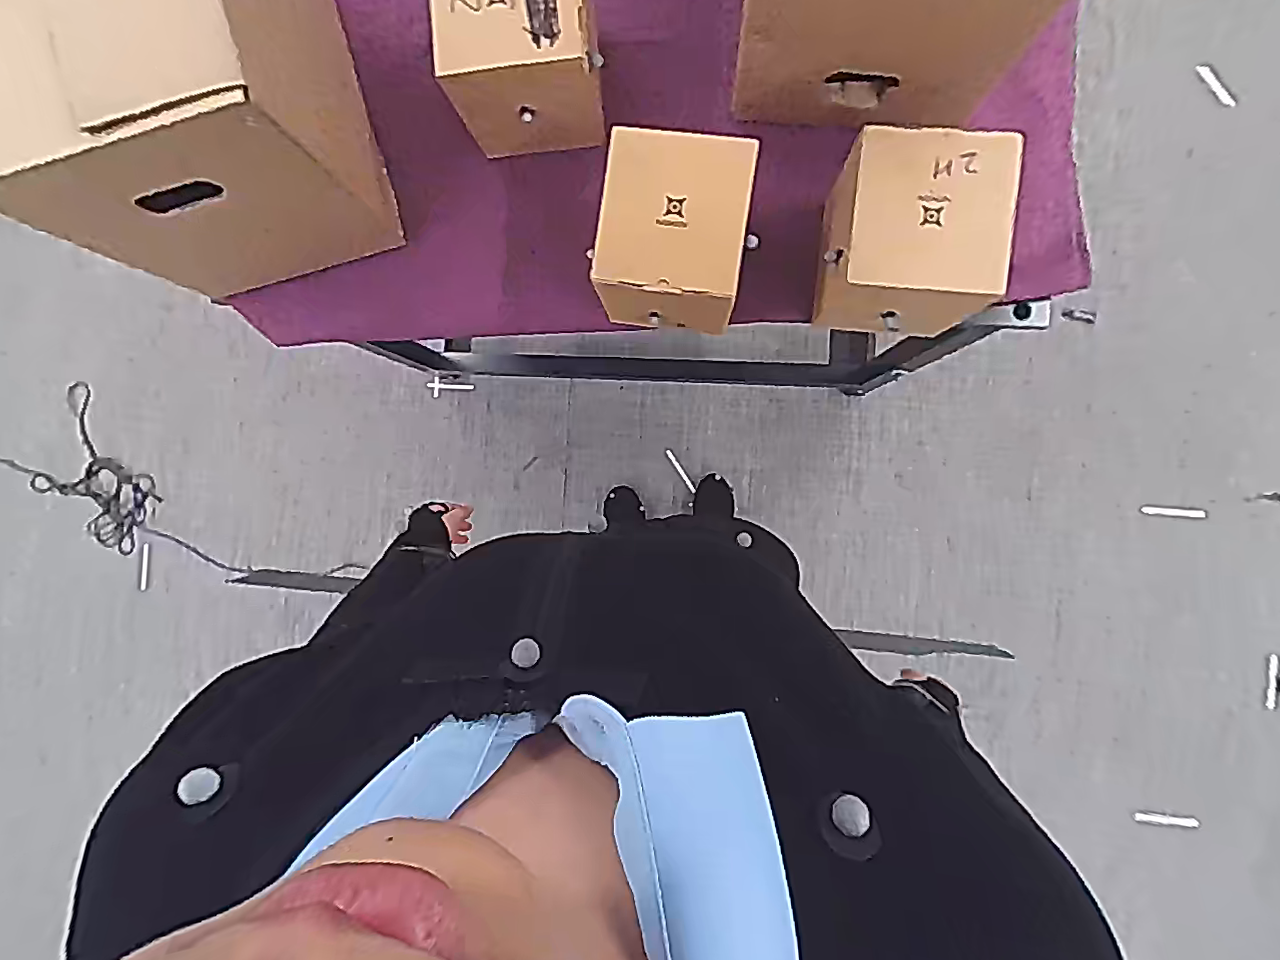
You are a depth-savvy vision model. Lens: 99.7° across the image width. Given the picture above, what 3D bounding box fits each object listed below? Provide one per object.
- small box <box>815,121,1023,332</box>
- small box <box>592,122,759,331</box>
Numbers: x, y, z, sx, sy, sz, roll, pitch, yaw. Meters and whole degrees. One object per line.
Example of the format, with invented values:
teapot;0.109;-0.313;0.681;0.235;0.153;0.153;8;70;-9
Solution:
small box;0.317;-0.289;0.652;0.168;0.176;0.179;7;89;5
small box;0.043;-0.302;0.676;0.168;0.176;0.179;8;92;4
